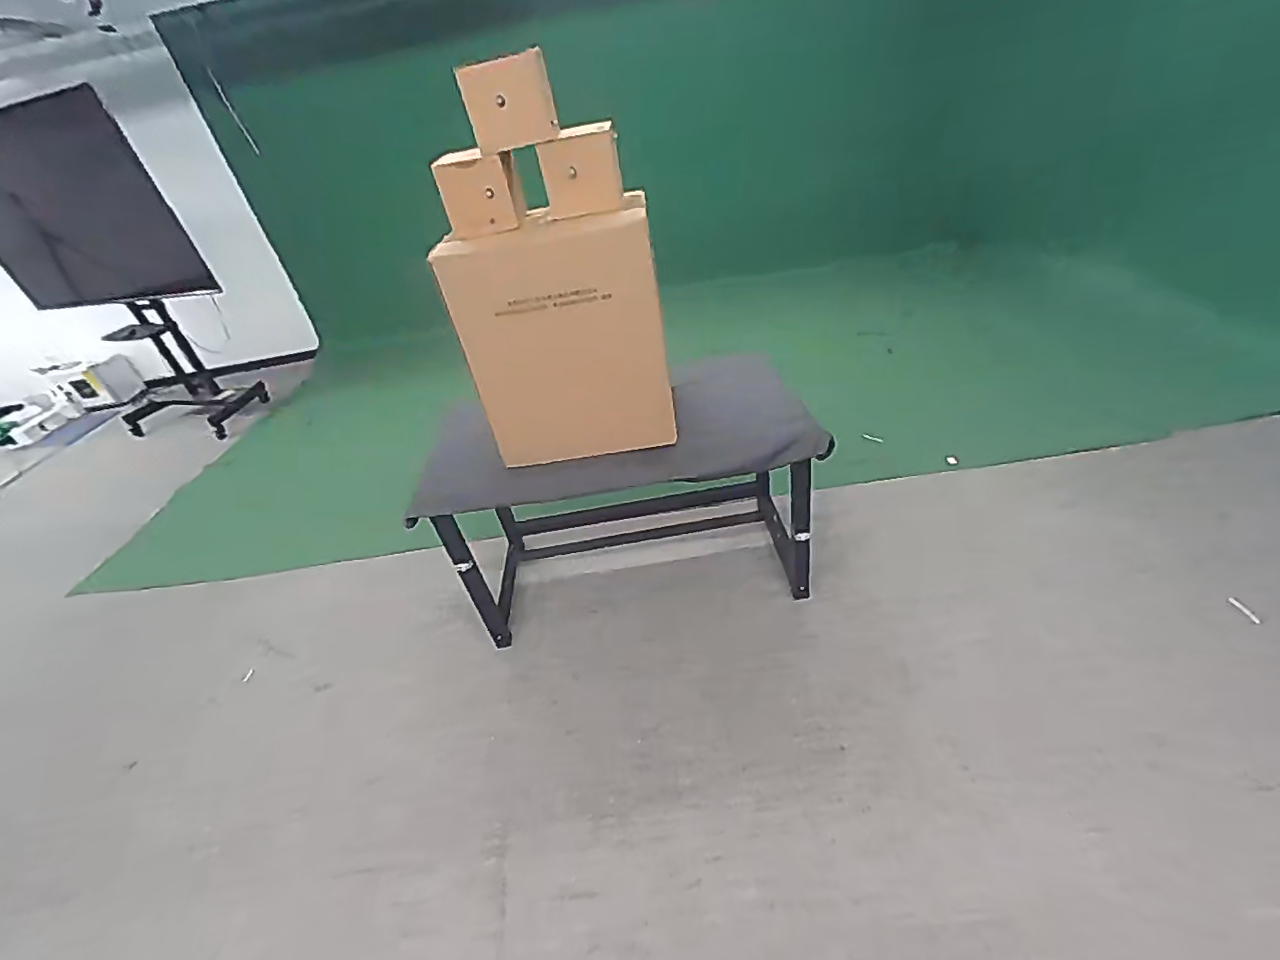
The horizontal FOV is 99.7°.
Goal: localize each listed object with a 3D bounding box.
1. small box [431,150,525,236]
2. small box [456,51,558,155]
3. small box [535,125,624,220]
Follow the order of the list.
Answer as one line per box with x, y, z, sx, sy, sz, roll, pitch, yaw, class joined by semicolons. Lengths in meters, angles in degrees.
-0.397;-0.725;1.360;0.168;0.176;0.179;-7;36;2;small box
-0.296;-0.871;1.251;0.179;0.176;0.168;-10;37;4;small box
-0.143;-0.761;1.343;0.179;0.176;0.168;-8;38;5;small box
